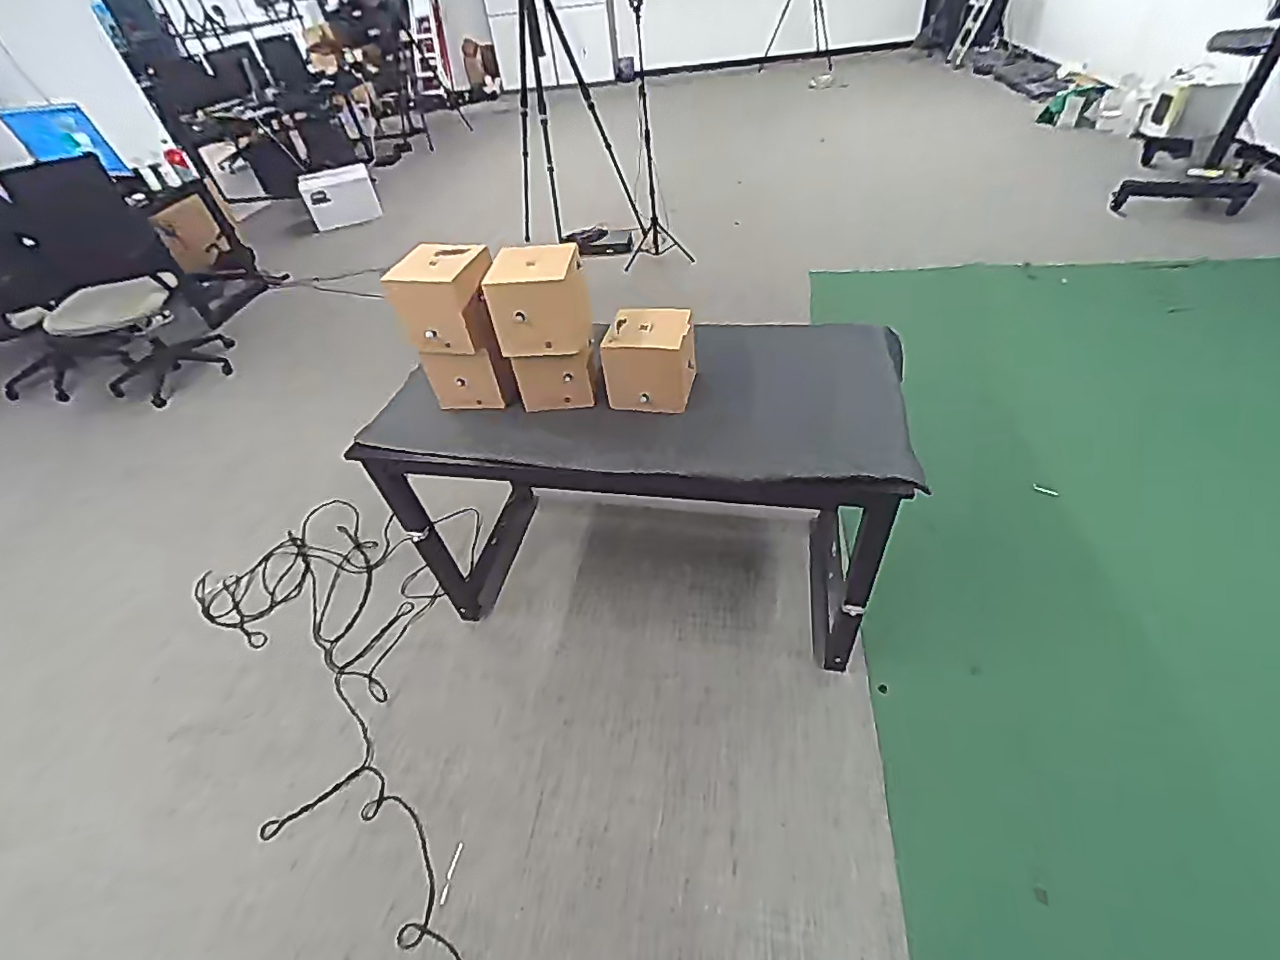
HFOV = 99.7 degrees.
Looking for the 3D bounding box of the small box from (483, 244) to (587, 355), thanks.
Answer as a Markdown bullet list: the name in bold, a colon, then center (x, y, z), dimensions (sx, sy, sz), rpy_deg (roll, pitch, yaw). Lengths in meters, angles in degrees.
- **small box**: center (-0.210, -0.377, 1.144), dimensions (0.168, 0.176, 0.179), rpy_deg (-1, 44, 5)
